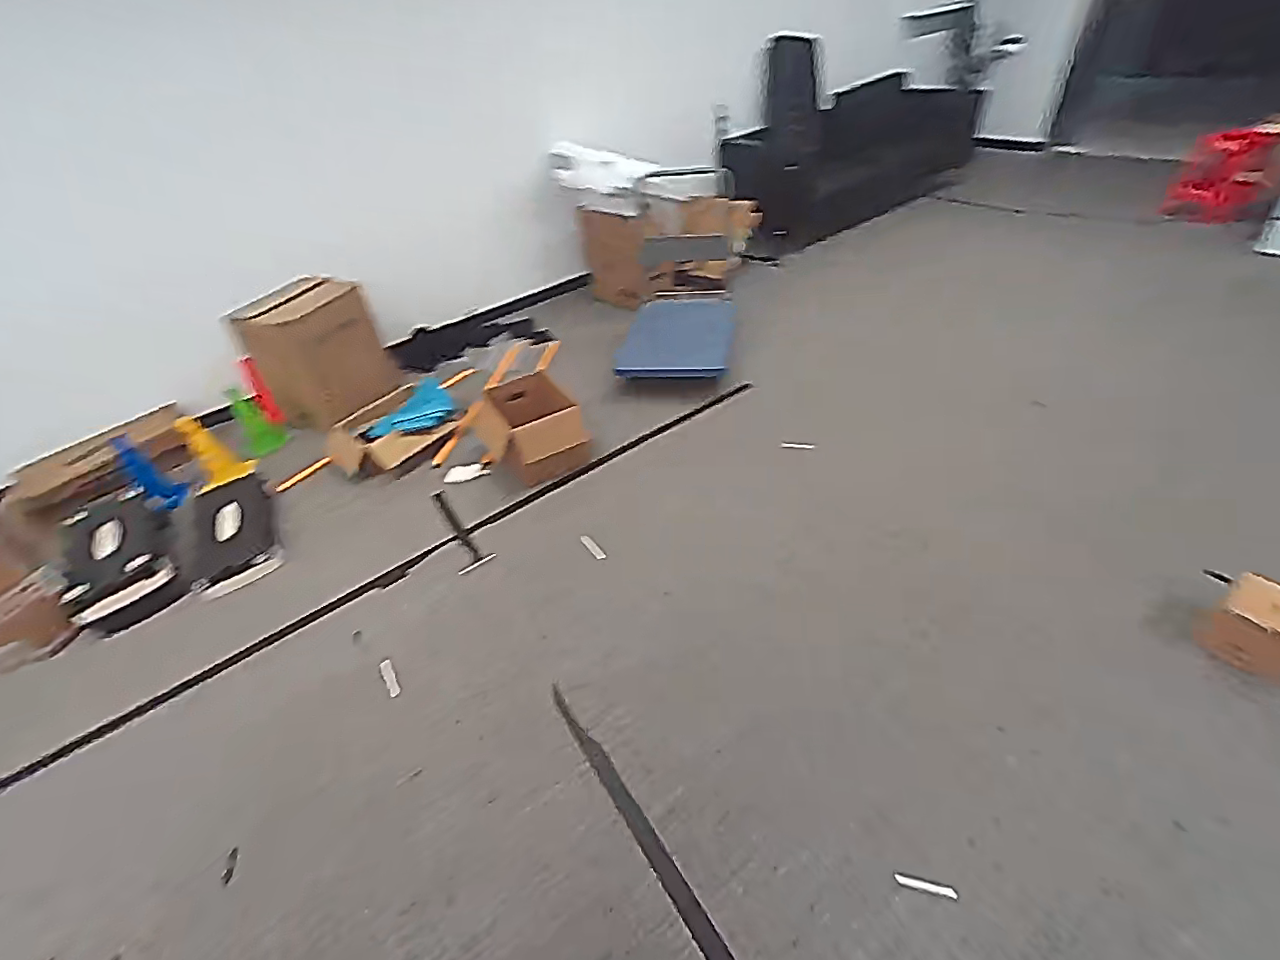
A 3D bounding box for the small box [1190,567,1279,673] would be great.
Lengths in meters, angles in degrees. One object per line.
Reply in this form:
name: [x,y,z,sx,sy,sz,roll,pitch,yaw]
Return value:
small box: [1.652,0.378,1.461,0.179,0.176,0.168,-34,46,-26]
